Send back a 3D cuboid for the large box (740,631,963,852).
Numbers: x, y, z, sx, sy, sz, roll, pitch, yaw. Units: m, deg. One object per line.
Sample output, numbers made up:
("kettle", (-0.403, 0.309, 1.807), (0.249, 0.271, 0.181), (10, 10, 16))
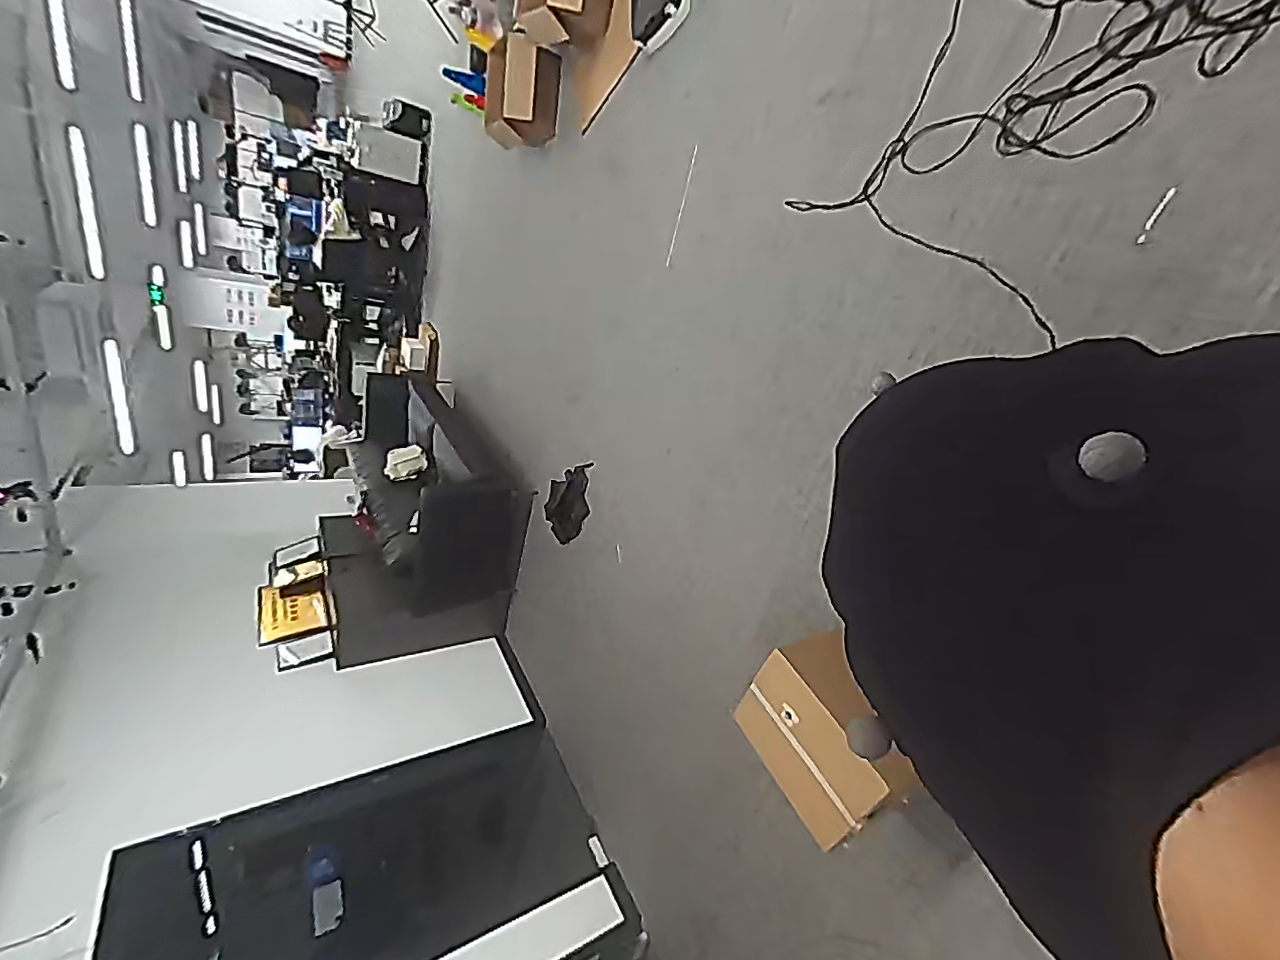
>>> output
("large box", (0.555, 0.684, 1.471), (0.408, 0.320, 0.320), (53, 133, 43))
